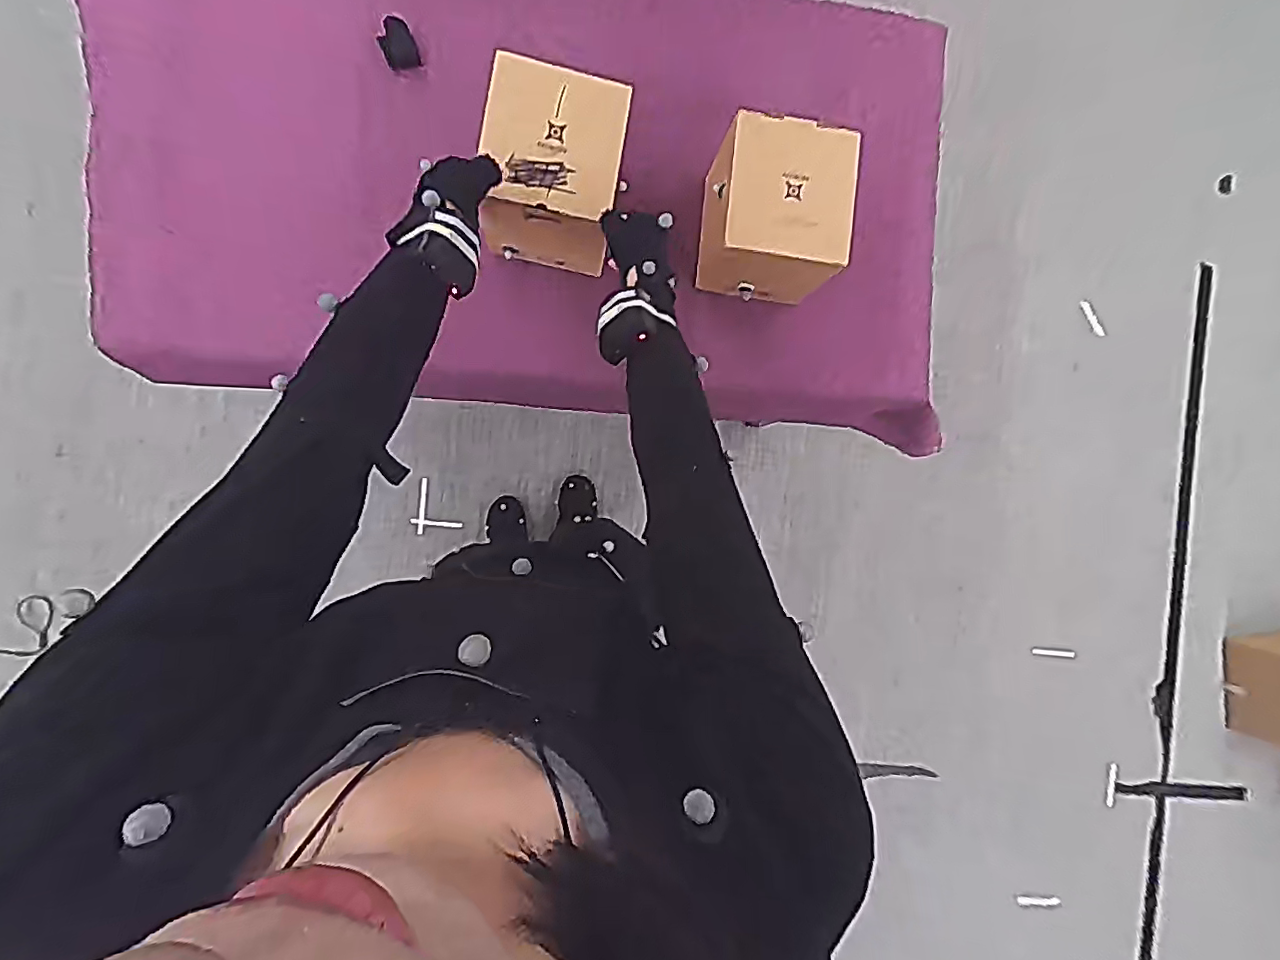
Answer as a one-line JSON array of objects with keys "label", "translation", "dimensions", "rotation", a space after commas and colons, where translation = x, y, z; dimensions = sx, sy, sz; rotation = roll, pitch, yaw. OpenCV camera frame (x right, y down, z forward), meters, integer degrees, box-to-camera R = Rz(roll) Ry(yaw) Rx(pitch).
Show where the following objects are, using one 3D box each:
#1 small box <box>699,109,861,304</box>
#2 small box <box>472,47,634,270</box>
[{"label": "small box", "translation": [0.186, -0.369, 0.762], "dimensions": [0.168, 0.176, 0.179], "rotation": [6, 90, -7]}, {"label": "small box", "translation": [-0.111, -0.406, 0.717], "dimensions": [0.168, 0.176, 0.179], "rotation": [10, 88, -8]}]
